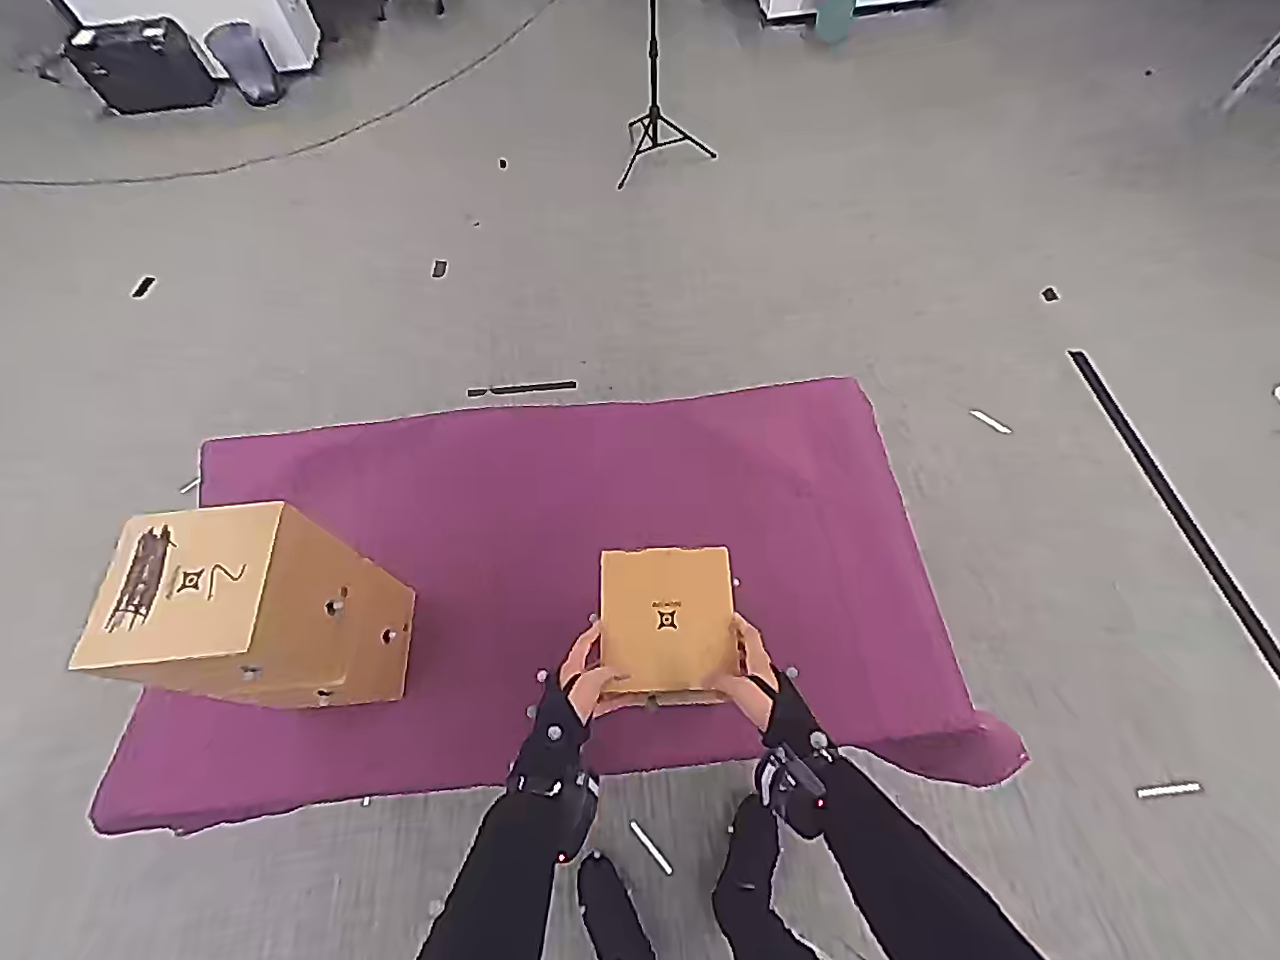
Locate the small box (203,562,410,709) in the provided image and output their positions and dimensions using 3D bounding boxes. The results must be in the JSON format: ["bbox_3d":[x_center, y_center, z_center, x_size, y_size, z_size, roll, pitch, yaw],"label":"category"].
[{"bbox_3d":[-0.448,0.224,0.764,0.179,0.176,0.168,-5,61,0],"label":"small box"}]

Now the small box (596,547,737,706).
[{"bbox_3d":[0.033,0.204,0.727,0.168,0.176,0.179,-3,61,1],"label":"small box"}]
